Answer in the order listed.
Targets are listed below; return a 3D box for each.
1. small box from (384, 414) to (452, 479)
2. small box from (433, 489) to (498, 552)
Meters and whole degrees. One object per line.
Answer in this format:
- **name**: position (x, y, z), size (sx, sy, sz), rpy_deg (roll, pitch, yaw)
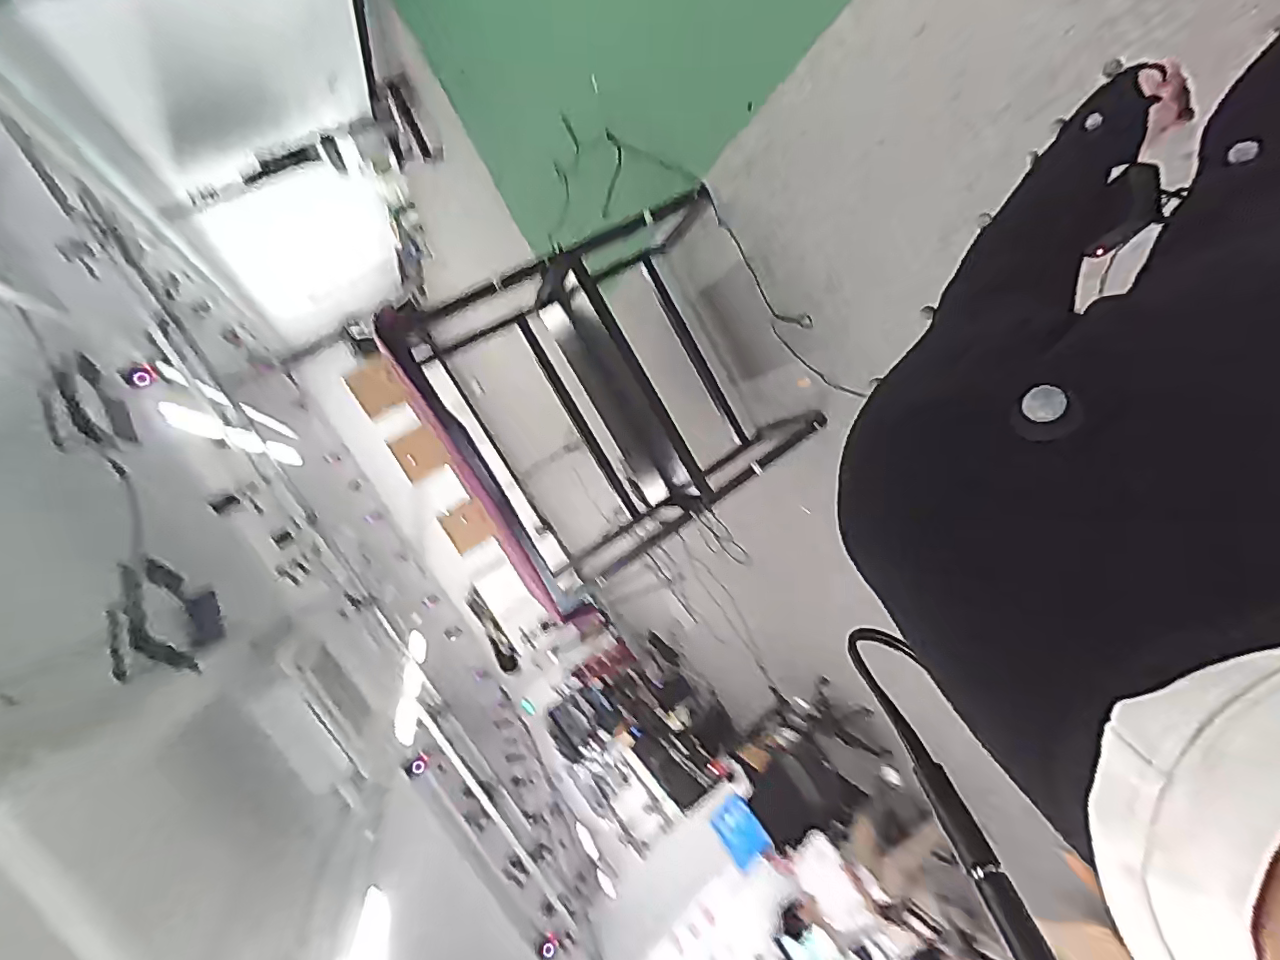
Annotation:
- **small box**: position (-0.810, -0.120, 1.992), size (0.179, 0.176, 0.168), rpy_deg (60, 162, -8)
- **small box**: position (-0.656, 0.148, 2.039), size (0.168, 0.176, 0.179), rpy_deg (63, 161, -14)
